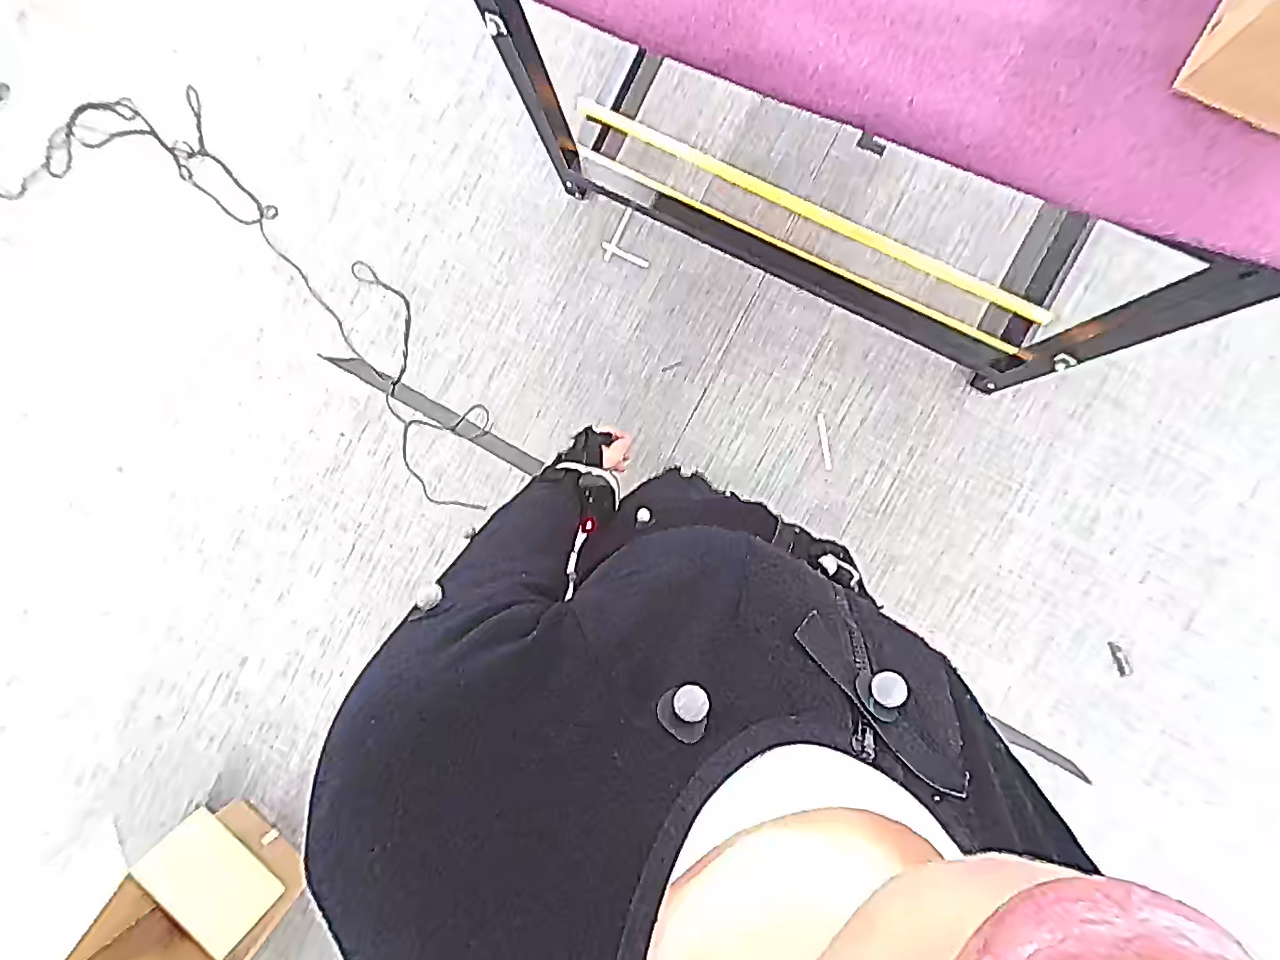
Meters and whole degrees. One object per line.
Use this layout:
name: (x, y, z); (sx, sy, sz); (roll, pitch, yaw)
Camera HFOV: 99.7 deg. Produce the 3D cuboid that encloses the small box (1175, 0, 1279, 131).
small box: (0.686, -0.463, 0.502); (0.179, 0.176, 0.168); (30, 91, 6)
